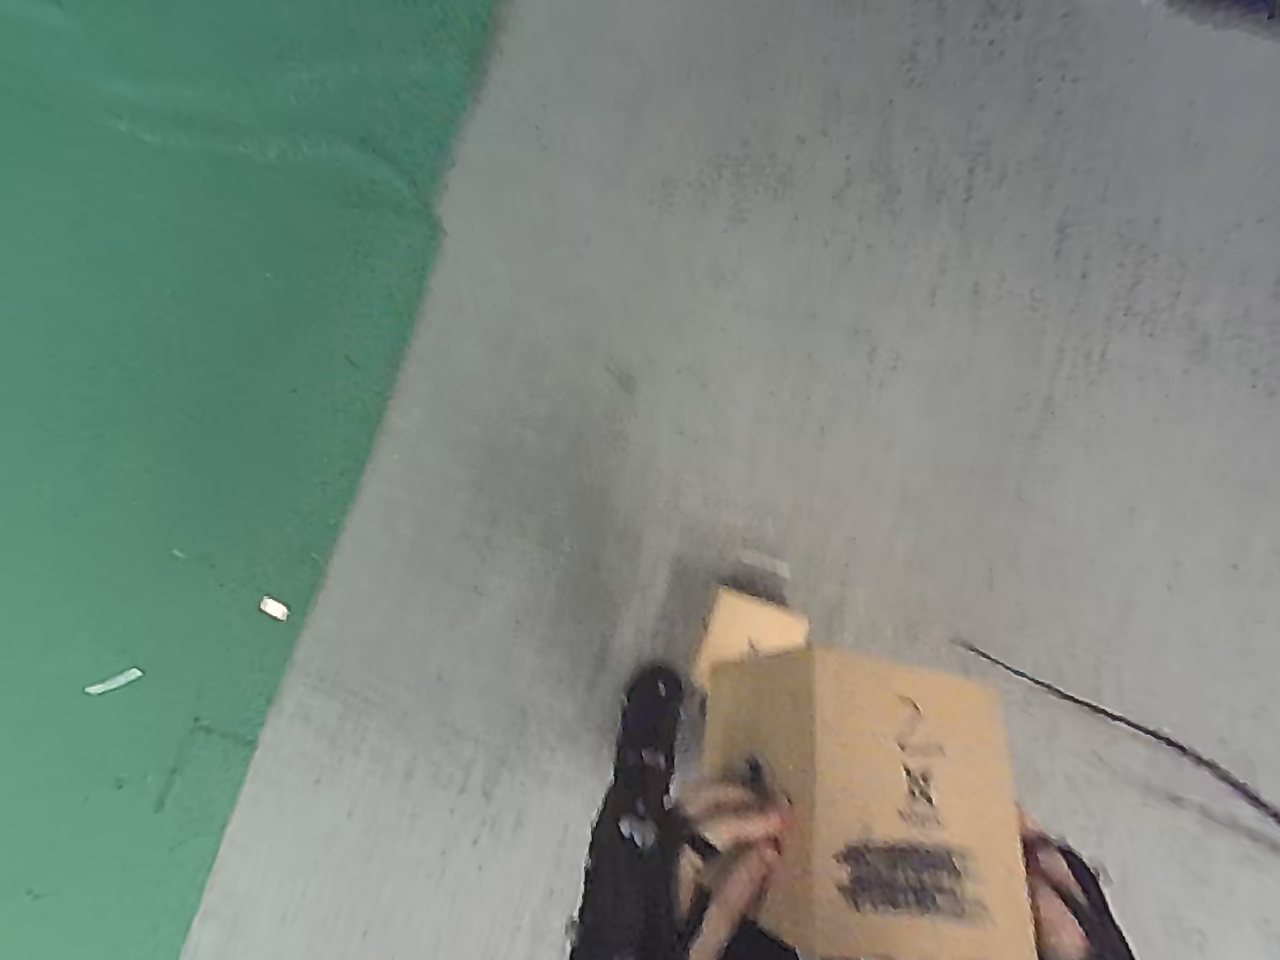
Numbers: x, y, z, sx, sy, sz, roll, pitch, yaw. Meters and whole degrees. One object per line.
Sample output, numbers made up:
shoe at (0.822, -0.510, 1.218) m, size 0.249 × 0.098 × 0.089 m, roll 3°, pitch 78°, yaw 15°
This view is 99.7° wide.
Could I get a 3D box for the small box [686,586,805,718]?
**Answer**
small box at (0.191, 0.315, 1.036) m, size 0.168 × 0.176 × 0.179 m, roll 20°, pitch 87°, yaw 4°
